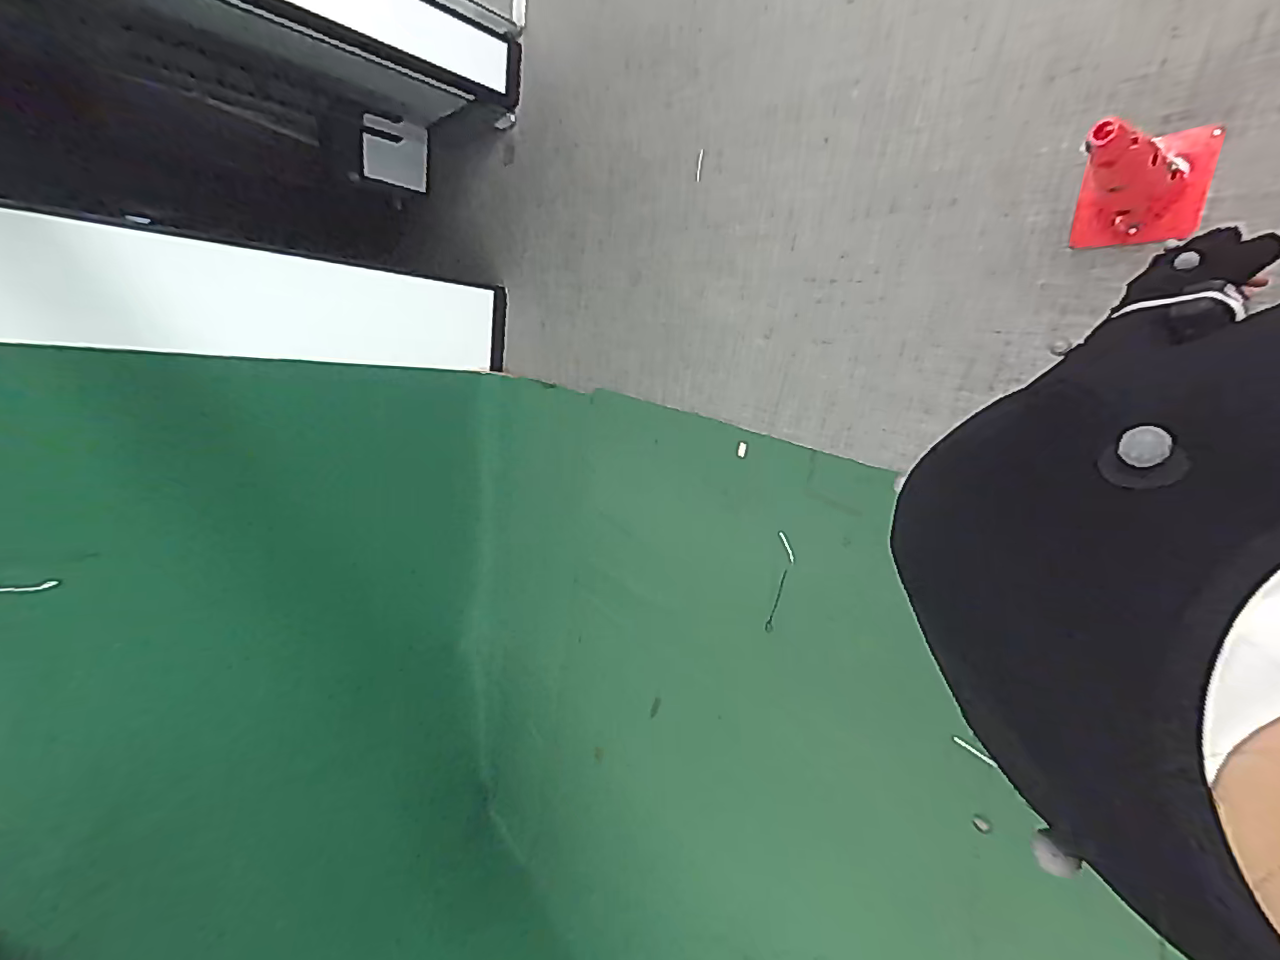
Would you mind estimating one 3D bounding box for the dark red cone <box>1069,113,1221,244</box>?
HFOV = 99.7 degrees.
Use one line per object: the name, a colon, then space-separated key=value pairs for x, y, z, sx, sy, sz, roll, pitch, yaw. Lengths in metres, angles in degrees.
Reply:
dark red cone: x=0.867 y=-0.567 z=0.963 sx=0.202 sy=0.394 sz=0.201 roll=15 pitch=107 yaw=48
